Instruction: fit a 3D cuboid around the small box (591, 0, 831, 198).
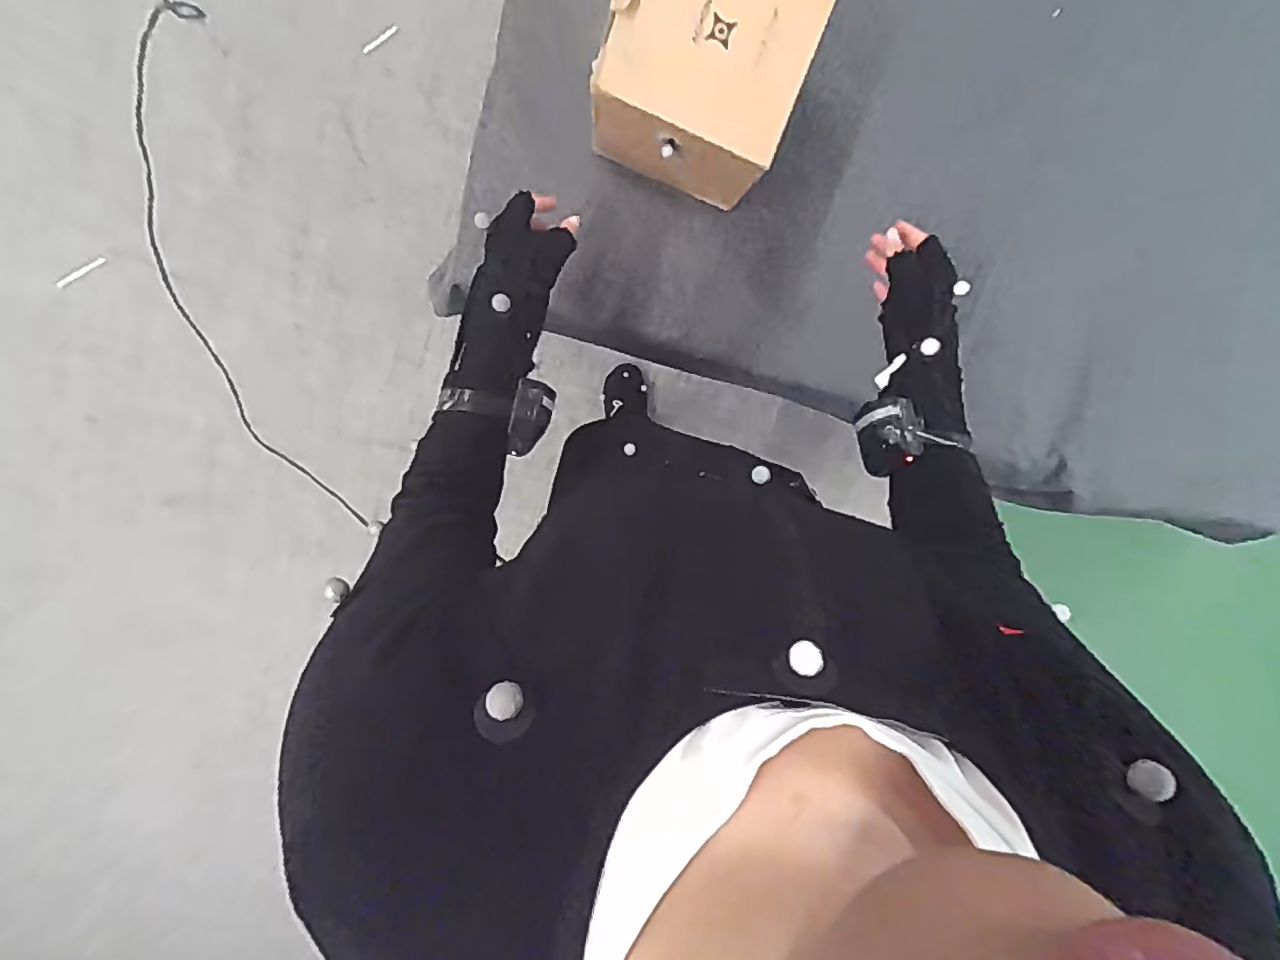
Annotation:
[{"bbox_3d":[0.059,-0.412,0.545,0.179,0.176,0.168,19,103,-9],"label":"small box"}]
